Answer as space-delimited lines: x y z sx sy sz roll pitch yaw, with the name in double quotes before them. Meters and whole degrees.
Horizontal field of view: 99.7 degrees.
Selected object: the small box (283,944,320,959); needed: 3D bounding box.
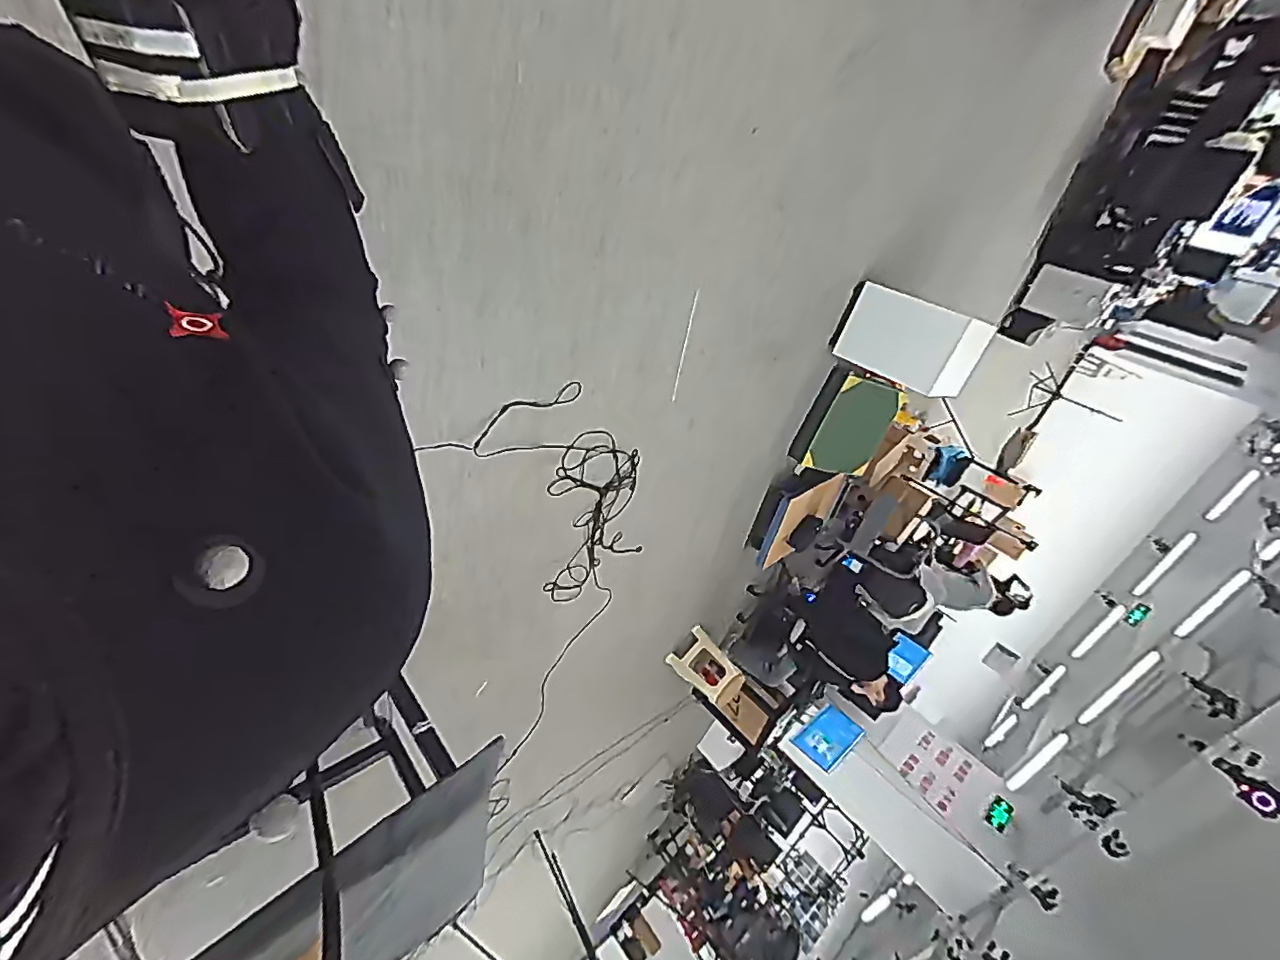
"small box" -0.782 1.192 1.199 0.168 0.176 0.179 -20 135 -39
